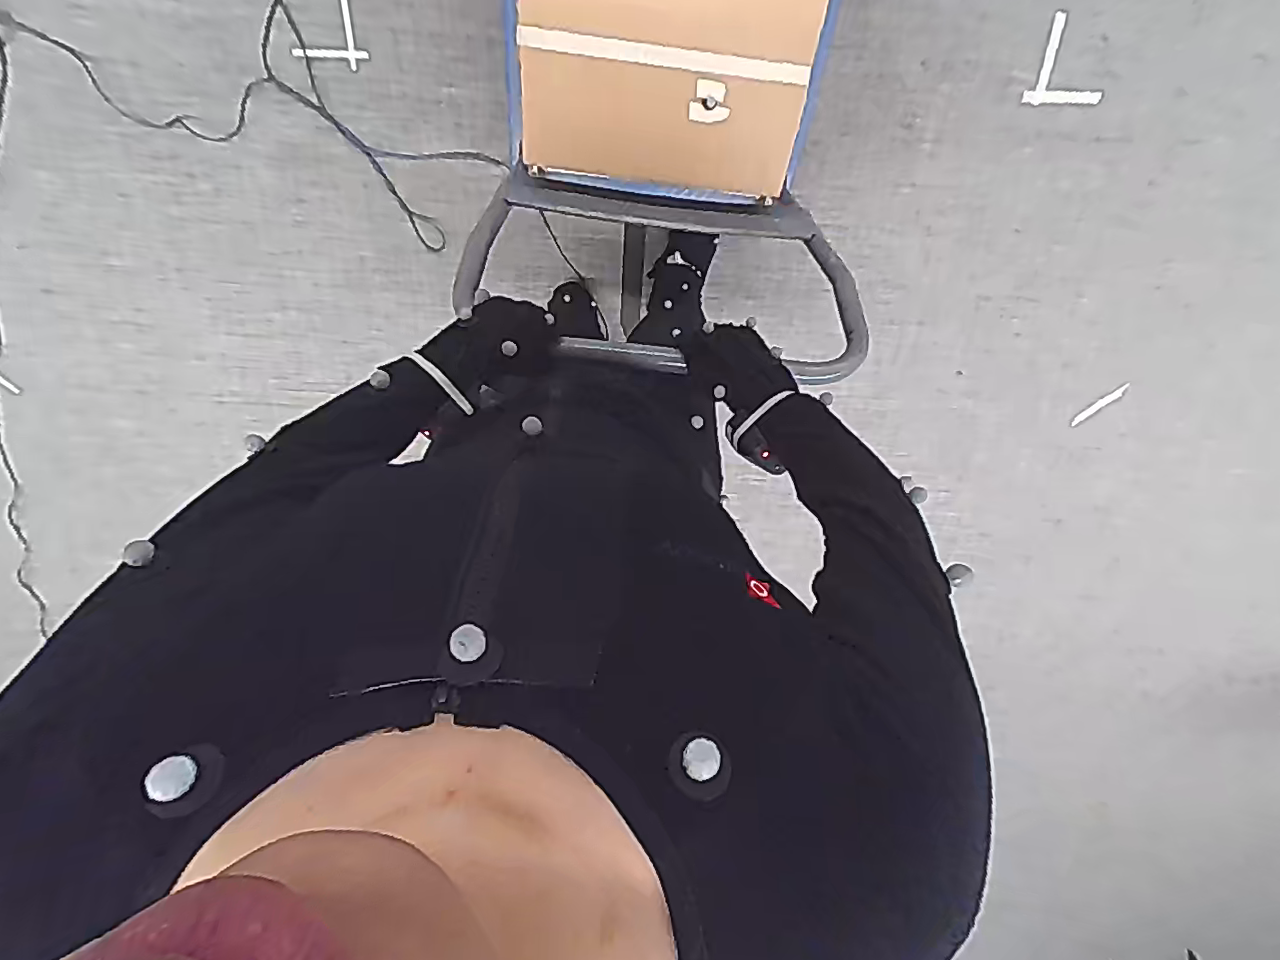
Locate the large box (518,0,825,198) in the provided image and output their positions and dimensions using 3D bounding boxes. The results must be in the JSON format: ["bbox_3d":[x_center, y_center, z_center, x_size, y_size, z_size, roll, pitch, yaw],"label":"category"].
[{"bbox_3d":[0.030,-0.667,0.856,0.408,0.320,0.320,4,130,-5],"label":"large box"}]
